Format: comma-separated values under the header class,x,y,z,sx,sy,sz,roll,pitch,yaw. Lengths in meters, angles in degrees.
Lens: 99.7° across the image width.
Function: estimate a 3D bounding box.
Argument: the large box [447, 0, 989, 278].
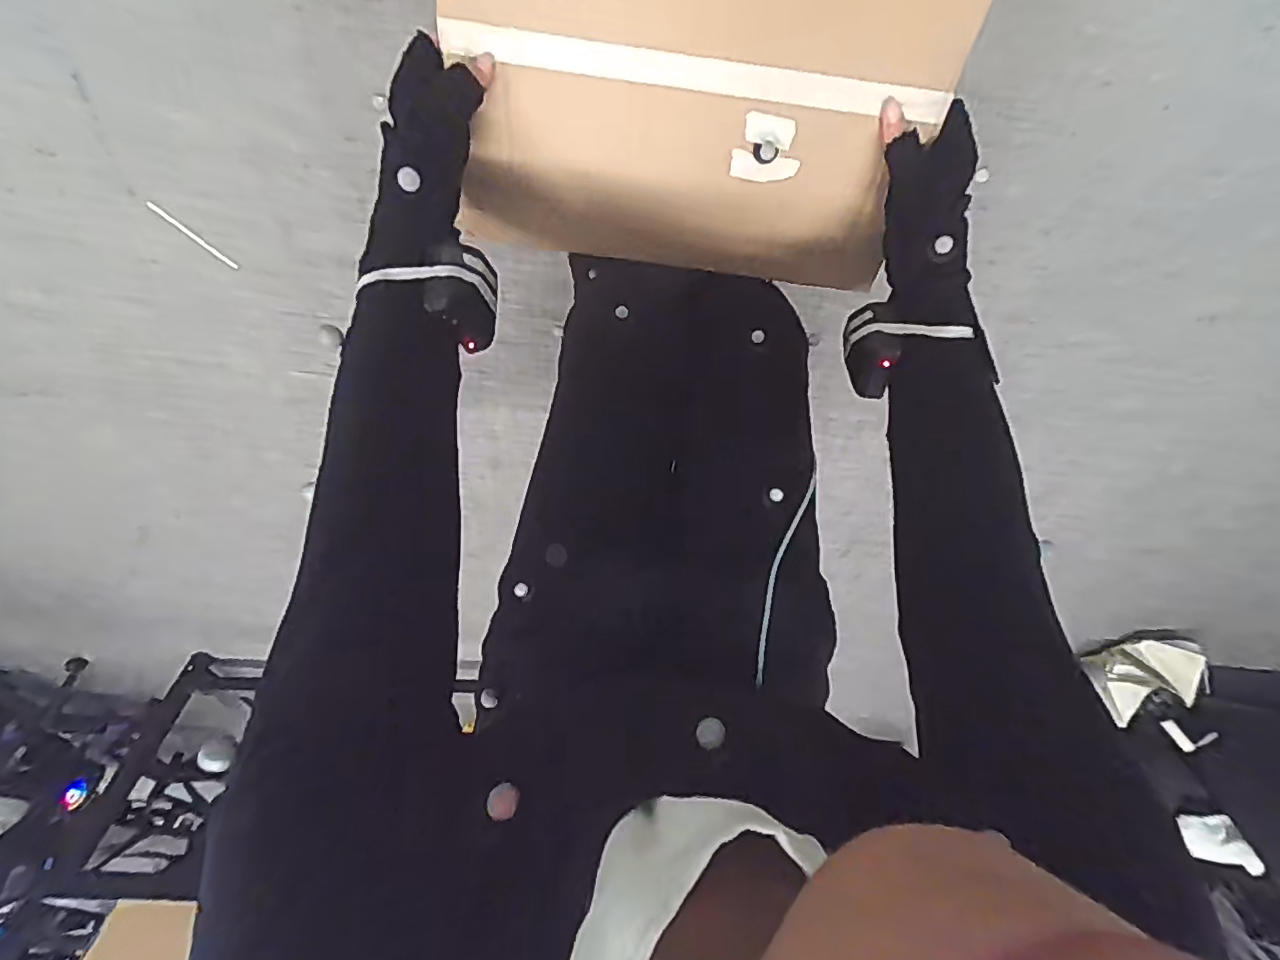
class,x,y,z,sx,sy,sz,roll,pitch,yaw
large box,0.055,-0.429,0.531,0.408,0.320,0.320,6,135,-2
